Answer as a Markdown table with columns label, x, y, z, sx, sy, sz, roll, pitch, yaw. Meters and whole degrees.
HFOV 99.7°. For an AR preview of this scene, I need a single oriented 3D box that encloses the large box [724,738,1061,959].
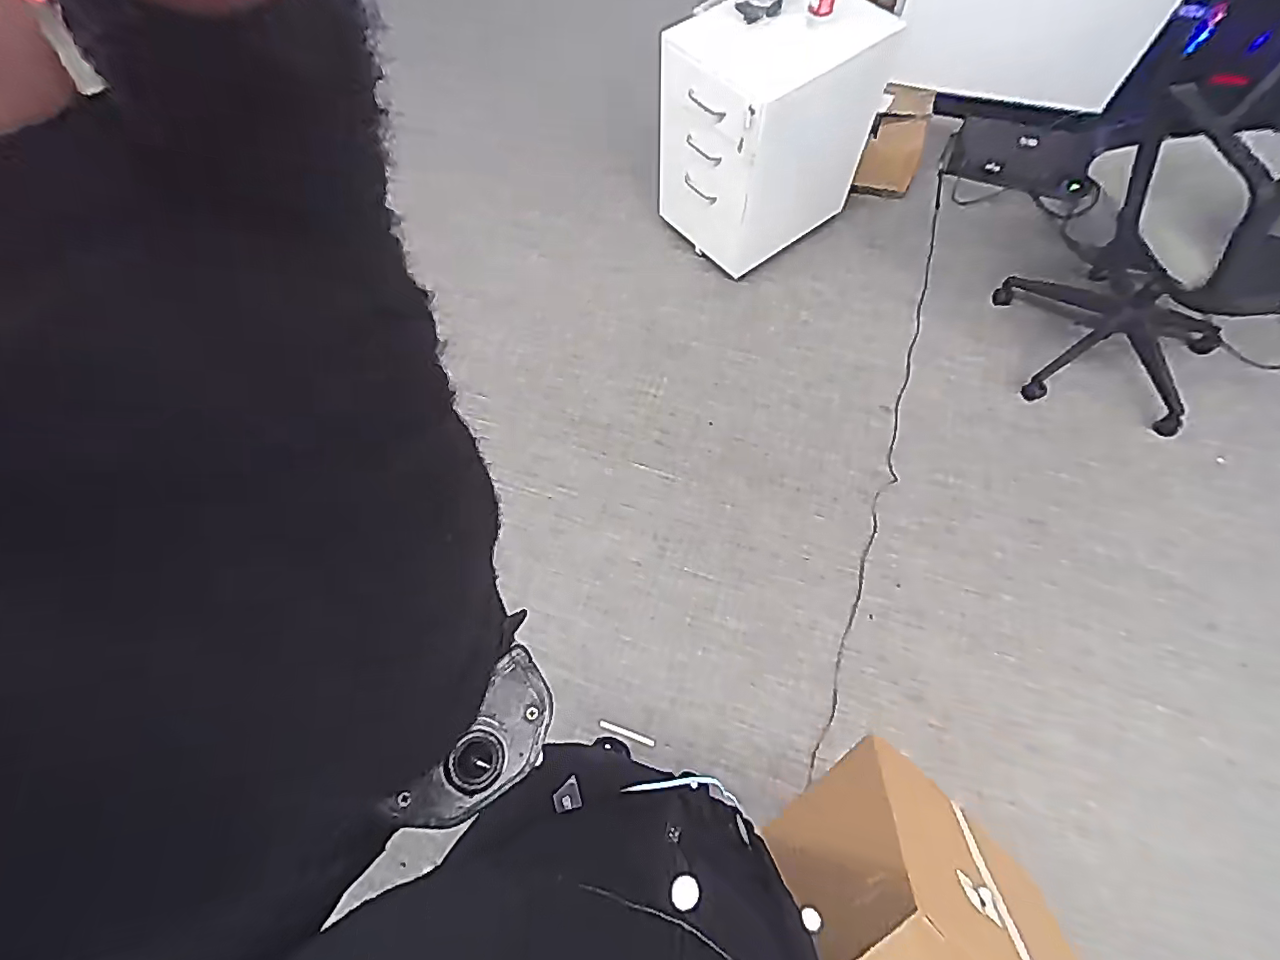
| label | x | y | z | sx | sy | sz | roll | pitch | yaw |
| --- | --- | --- | --- | --- | --- | --- | --- | --- | --- |
| large box | 0.326 | 0.638 | 0.705 | 0.320 | 0.408 | 0.320 | 42 | 102 | 14 |
